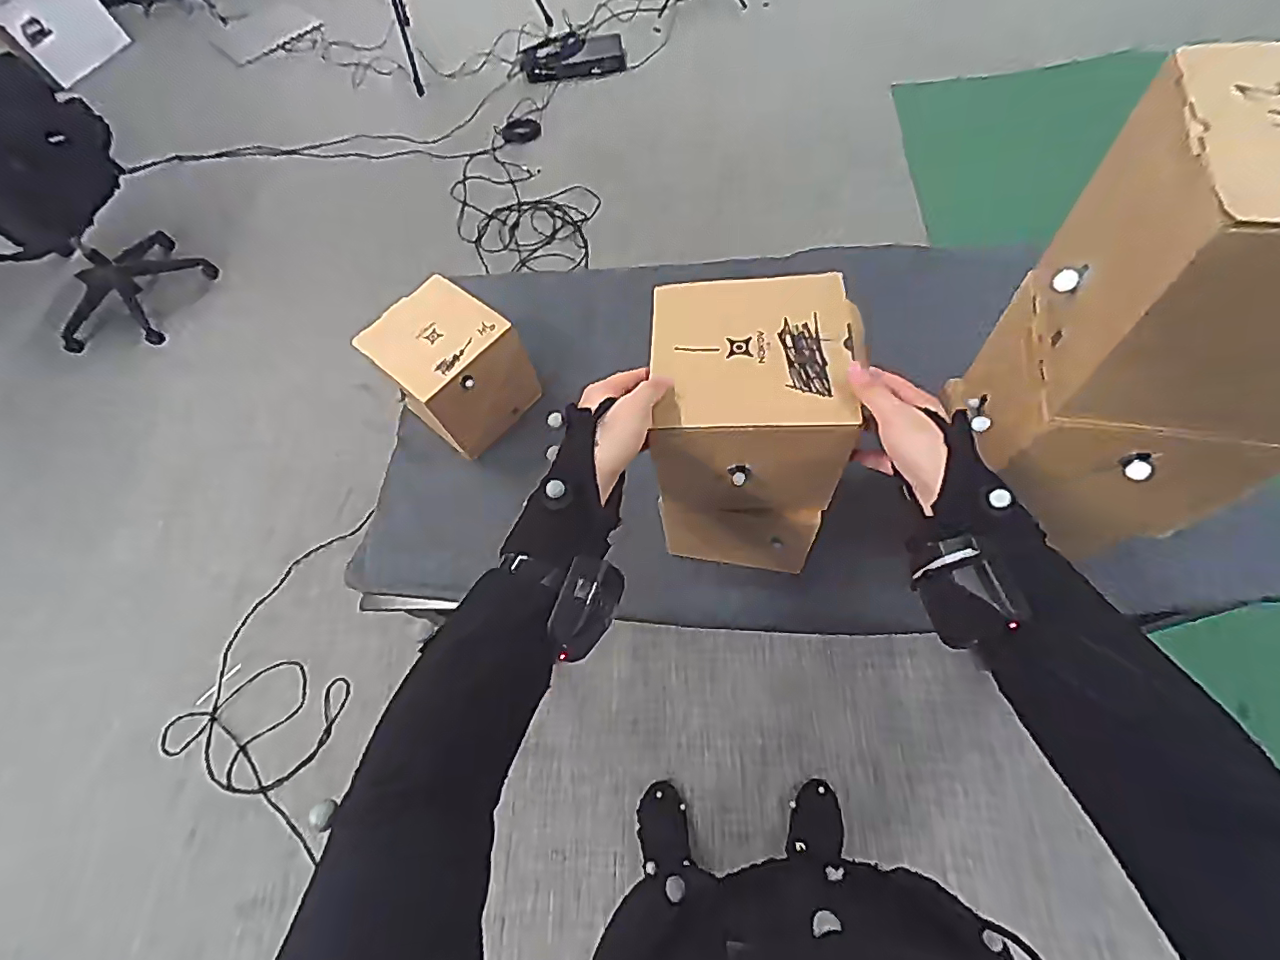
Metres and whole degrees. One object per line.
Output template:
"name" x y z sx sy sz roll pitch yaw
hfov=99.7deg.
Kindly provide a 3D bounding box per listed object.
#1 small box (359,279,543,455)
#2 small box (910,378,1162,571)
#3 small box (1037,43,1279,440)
"small box" -0.281 -0.167 0.836 0.179 0.176 0.168 37 74 22
"small box" 0.441 -0.002 0.643 0.168 0.176 0.179 -2 63 9
"small box" 0.398 -0.142 0.350 0.179 0.176 0.168 9 64 15
